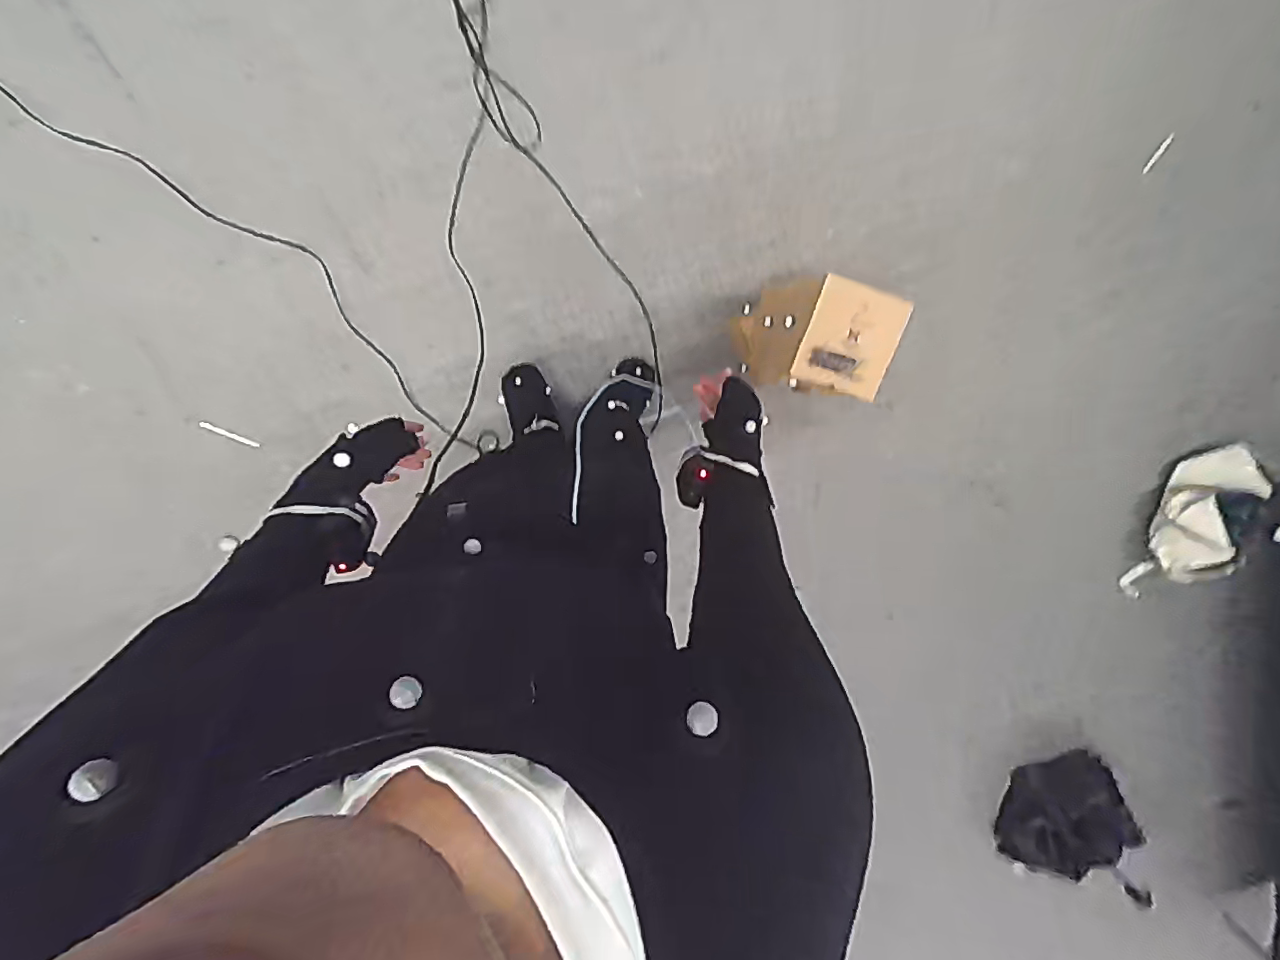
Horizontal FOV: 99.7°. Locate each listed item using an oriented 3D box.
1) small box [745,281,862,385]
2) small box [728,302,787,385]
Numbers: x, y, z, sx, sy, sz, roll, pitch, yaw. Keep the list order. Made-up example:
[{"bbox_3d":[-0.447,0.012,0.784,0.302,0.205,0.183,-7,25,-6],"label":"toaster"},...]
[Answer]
[{"bbox_3d":[0.338,-0.316,1.159,0.168,0.176,0.179,10,108,-8],"label":"small box"},{"bbox_3d":[0.323,-0.346,1.303,0.179,0.176,0.168,-23,109,2],"label":"small box"}]
